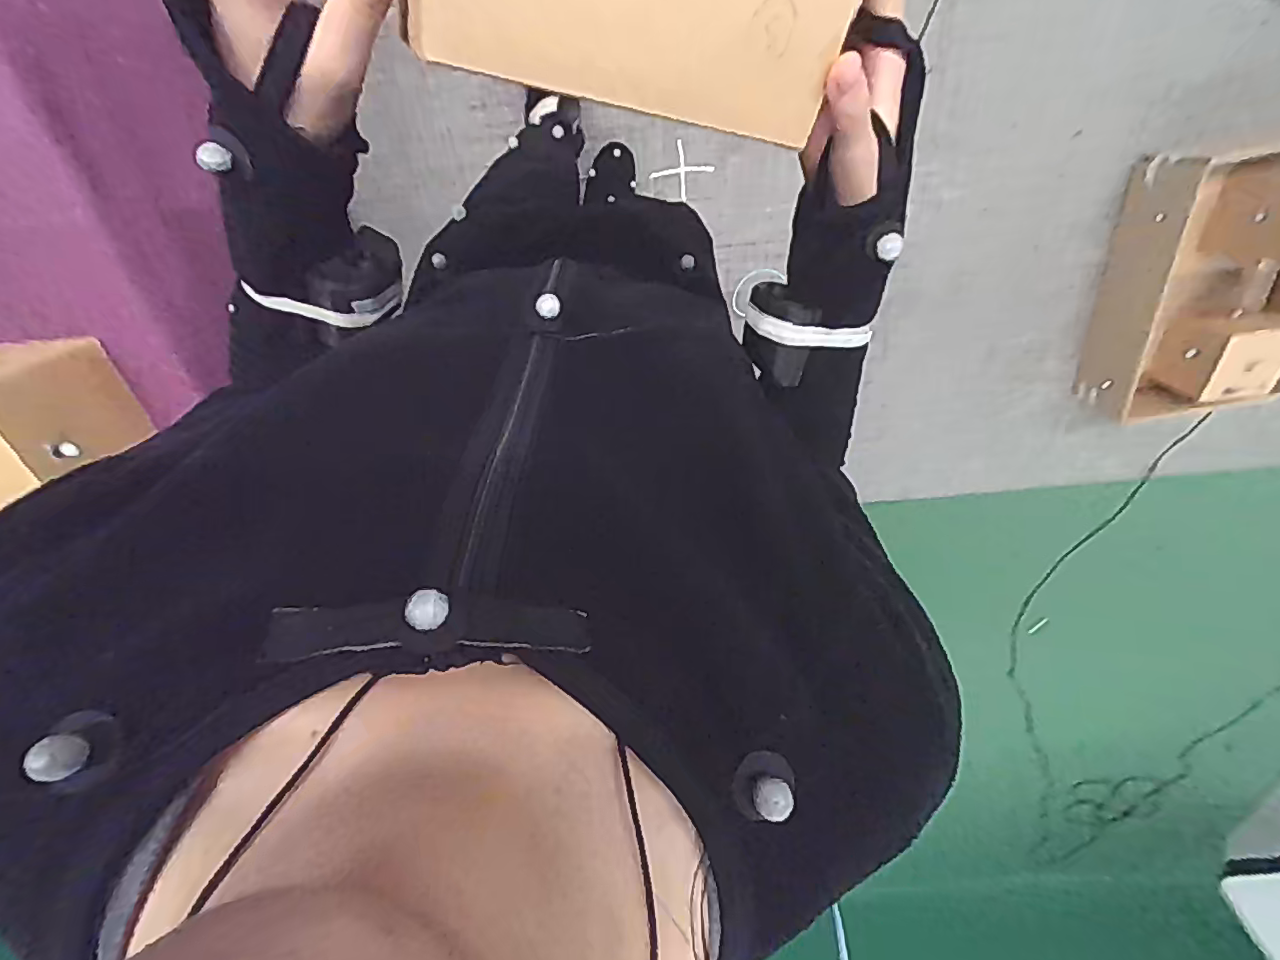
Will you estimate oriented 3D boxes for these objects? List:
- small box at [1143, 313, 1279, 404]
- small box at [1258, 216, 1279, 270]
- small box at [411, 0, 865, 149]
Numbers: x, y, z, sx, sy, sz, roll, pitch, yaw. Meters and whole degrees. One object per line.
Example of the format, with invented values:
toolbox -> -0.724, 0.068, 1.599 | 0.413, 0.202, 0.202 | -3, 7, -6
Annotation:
small box -> 1.440, -0.312, 1.364 | 0.168, 0.176, 0.179 | -6, 123, 3
small box -> 1.386, -0.495, 1.044 | 0.168, 0.176, 0.179 | -6, 125, 5
small box -> -0.004, -0.266, 0.219 | 0.168, 0.176, 0.179 | -3, 129, -26
